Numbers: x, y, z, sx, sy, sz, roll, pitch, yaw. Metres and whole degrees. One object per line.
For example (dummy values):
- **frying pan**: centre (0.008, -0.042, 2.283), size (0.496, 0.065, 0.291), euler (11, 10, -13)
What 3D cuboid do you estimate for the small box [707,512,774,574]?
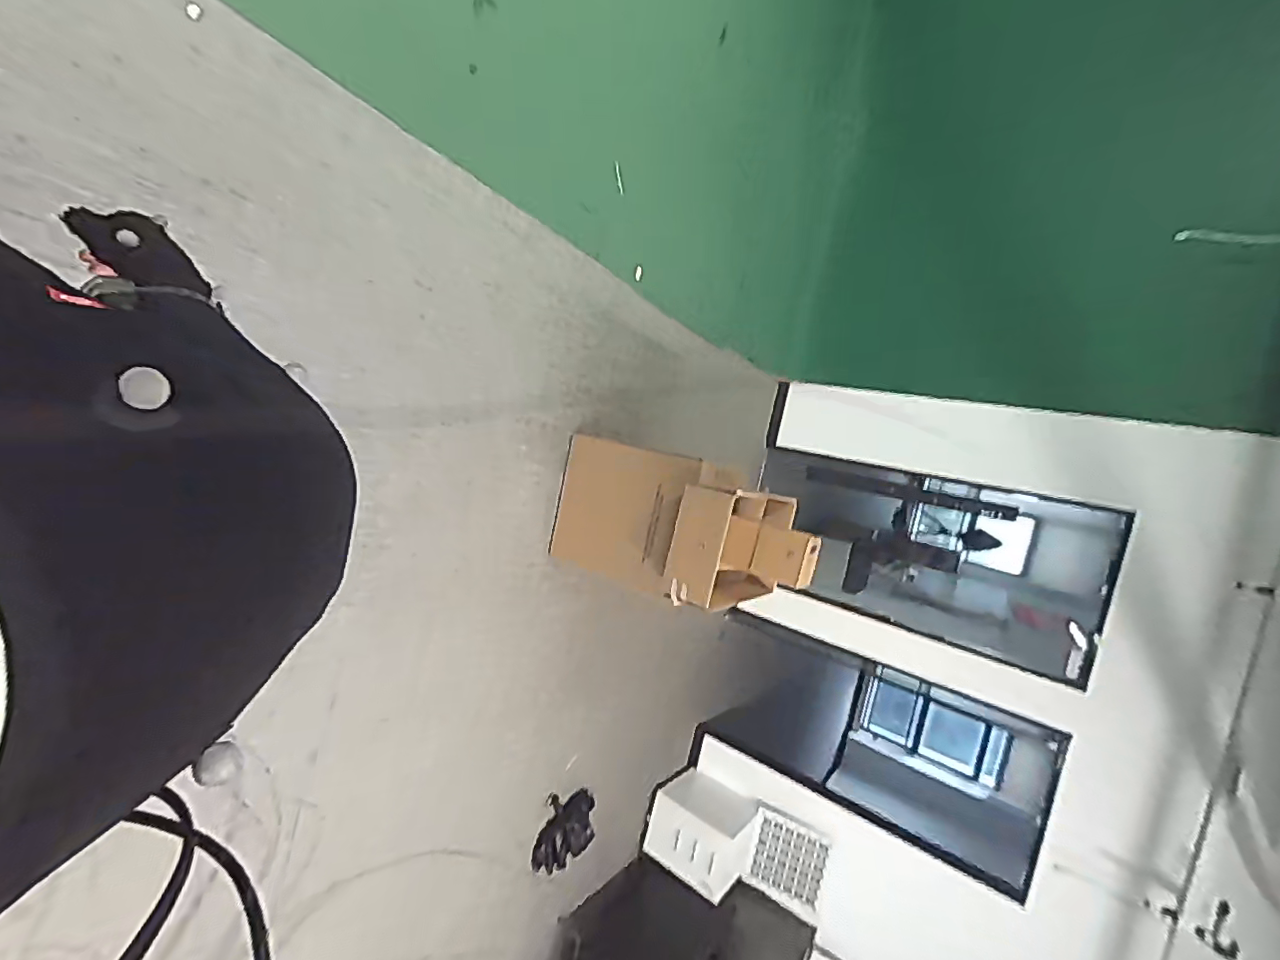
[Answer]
- **small box**: centre (0.359, 0.226, 1.950), size (0.168, 0.176, 0.179), euler (6, 99, -58)

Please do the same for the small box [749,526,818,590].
- **small box**: centre (0.490, 0.263, 1.859), size (0.168, 0.176, 0.179), euler (12, 94, -58)
